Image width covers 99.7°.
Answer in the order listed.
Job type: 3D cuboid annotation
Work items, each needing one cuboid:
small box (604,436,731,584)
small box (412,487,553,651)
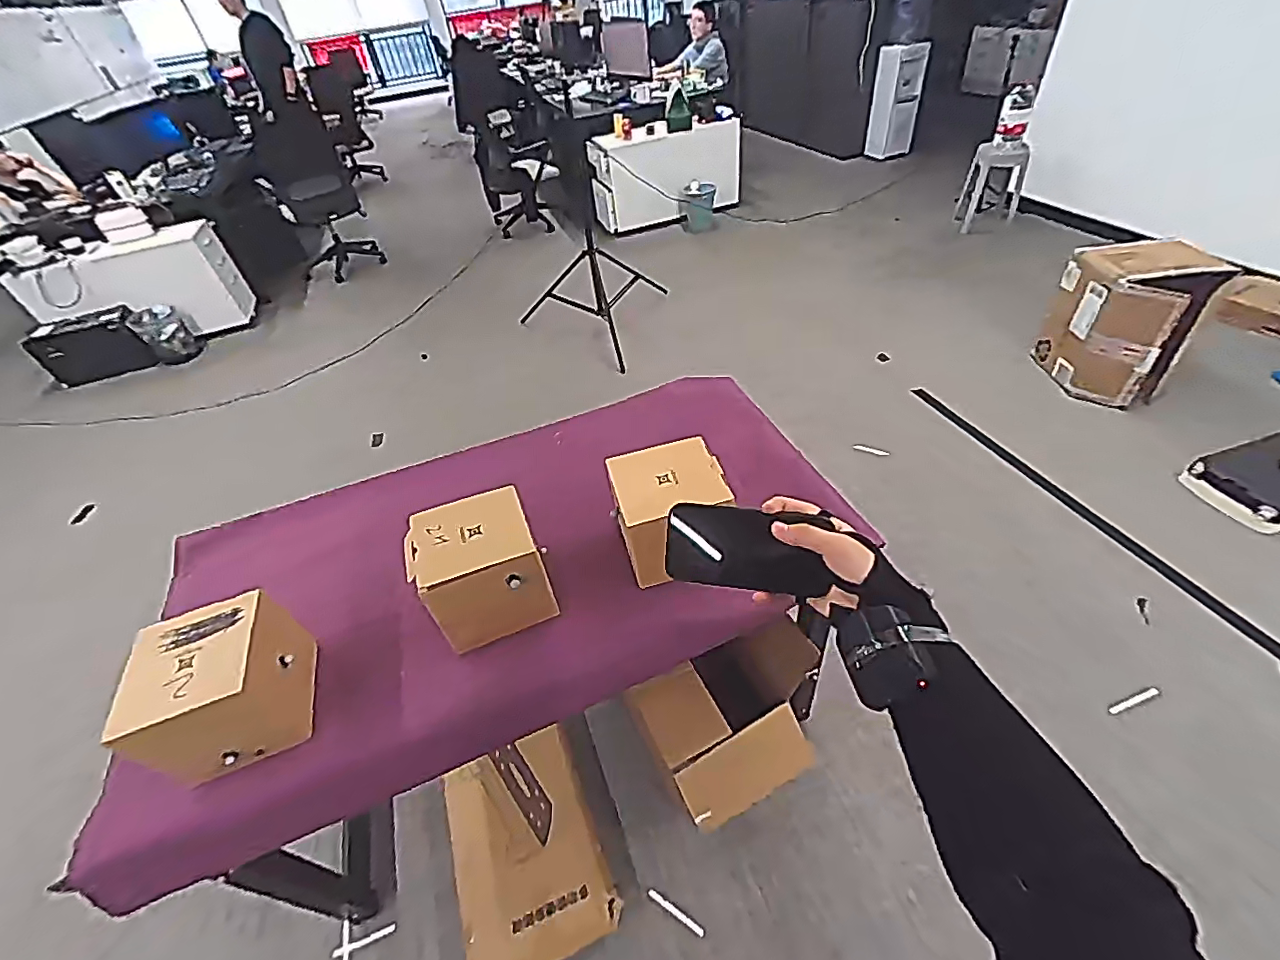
[{"bbox_3d":[0.050,0.055,0.934,0.179,0.176,0.168,-15,44,-7],"label":"small box"},{"bbox_3d":[-0.251,0.145,0.886,0.179,0.176,0.168,-20,42,-12],"label":"small box"}]
